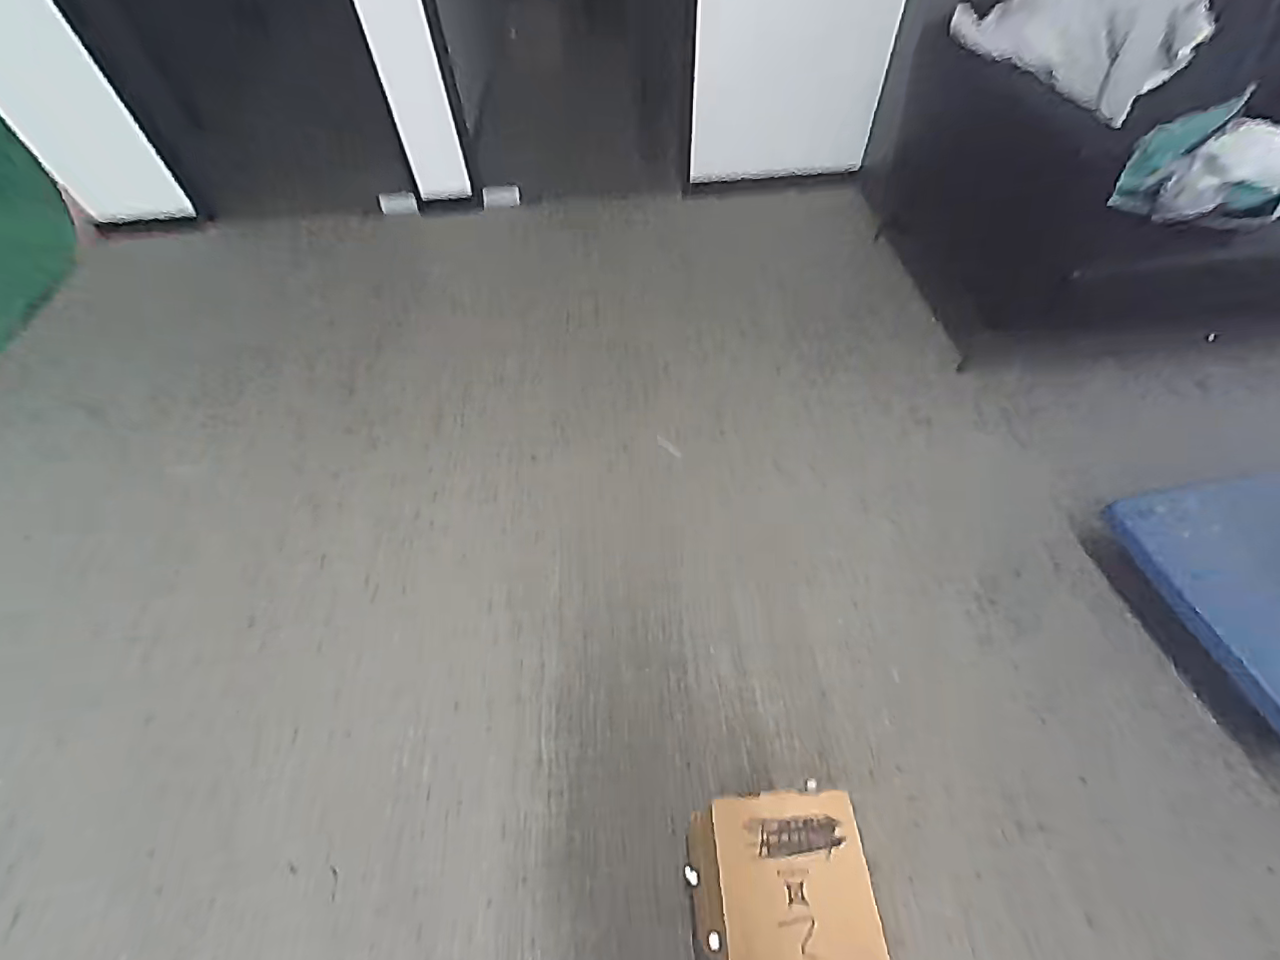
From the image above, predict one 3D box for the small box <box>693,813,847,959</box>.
[{"bbox_3d":[0.171,0.591,0.782,0.179,0.176,0.168,-3,53,-1],"label":"small box"}]
